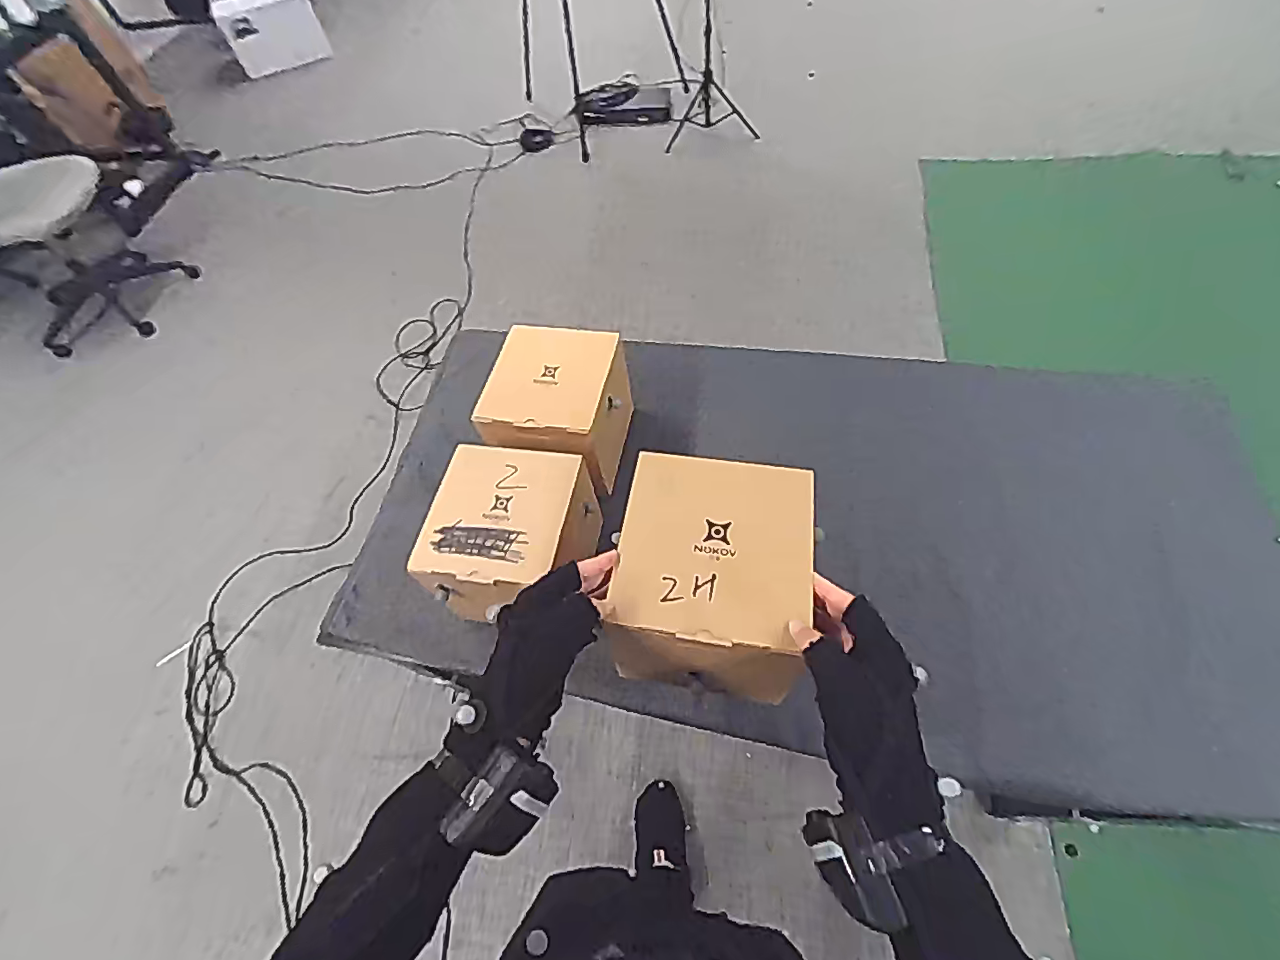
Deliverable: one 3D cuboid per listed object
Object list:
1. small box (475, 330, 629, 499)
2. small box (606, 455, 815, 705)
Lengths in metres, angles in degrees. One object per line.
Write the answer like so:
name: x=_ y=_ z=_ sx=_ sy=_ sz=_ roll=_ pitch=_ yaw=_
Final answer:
small box: x=-0.115 y=-0.094 z=0.802 sx=0.168 sy=0.176 sz=0.179 roll=7 pitch=61 yaw=11
small box: x=0.070 y=0.102 z=0.535 sx=0.168 sy=0.176 sz=0.179 roll=7 pitch=57 yaw=9
